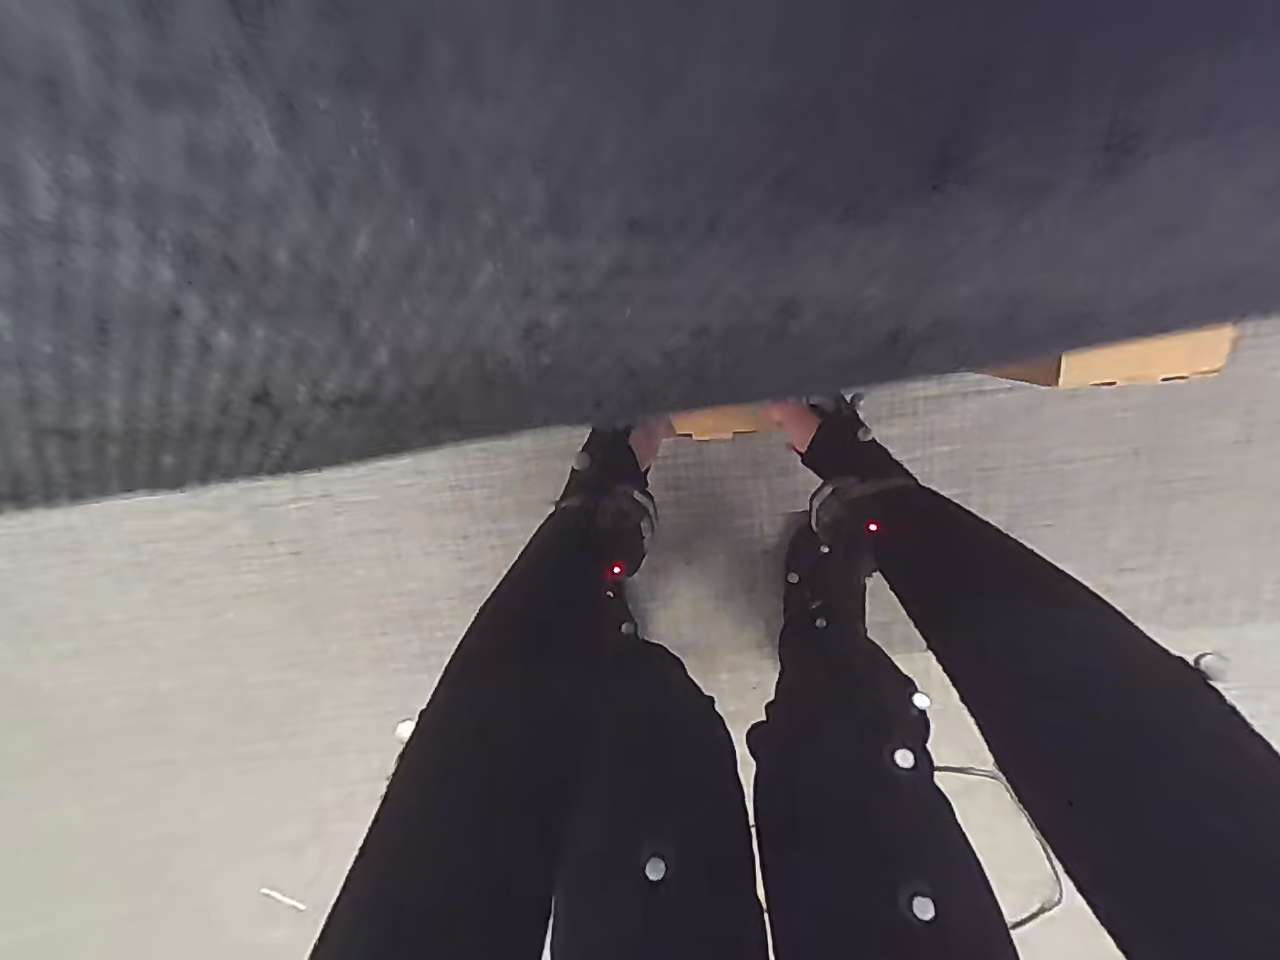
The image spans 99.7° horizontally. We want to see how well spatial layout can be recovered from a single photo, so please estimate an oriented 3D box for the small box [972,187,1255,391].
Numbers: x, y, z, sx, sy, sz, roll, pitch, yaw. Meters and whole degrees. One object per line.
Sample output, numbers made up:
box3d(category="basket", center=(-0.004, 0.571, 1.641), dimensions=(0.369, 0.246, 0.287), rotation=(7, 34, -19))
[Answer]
box3d(category="small box", center=(0.499, -0.202, 0.603), dimensions=(0.168, 0.176, 0.179), rotation=(-6, 104, 5))
